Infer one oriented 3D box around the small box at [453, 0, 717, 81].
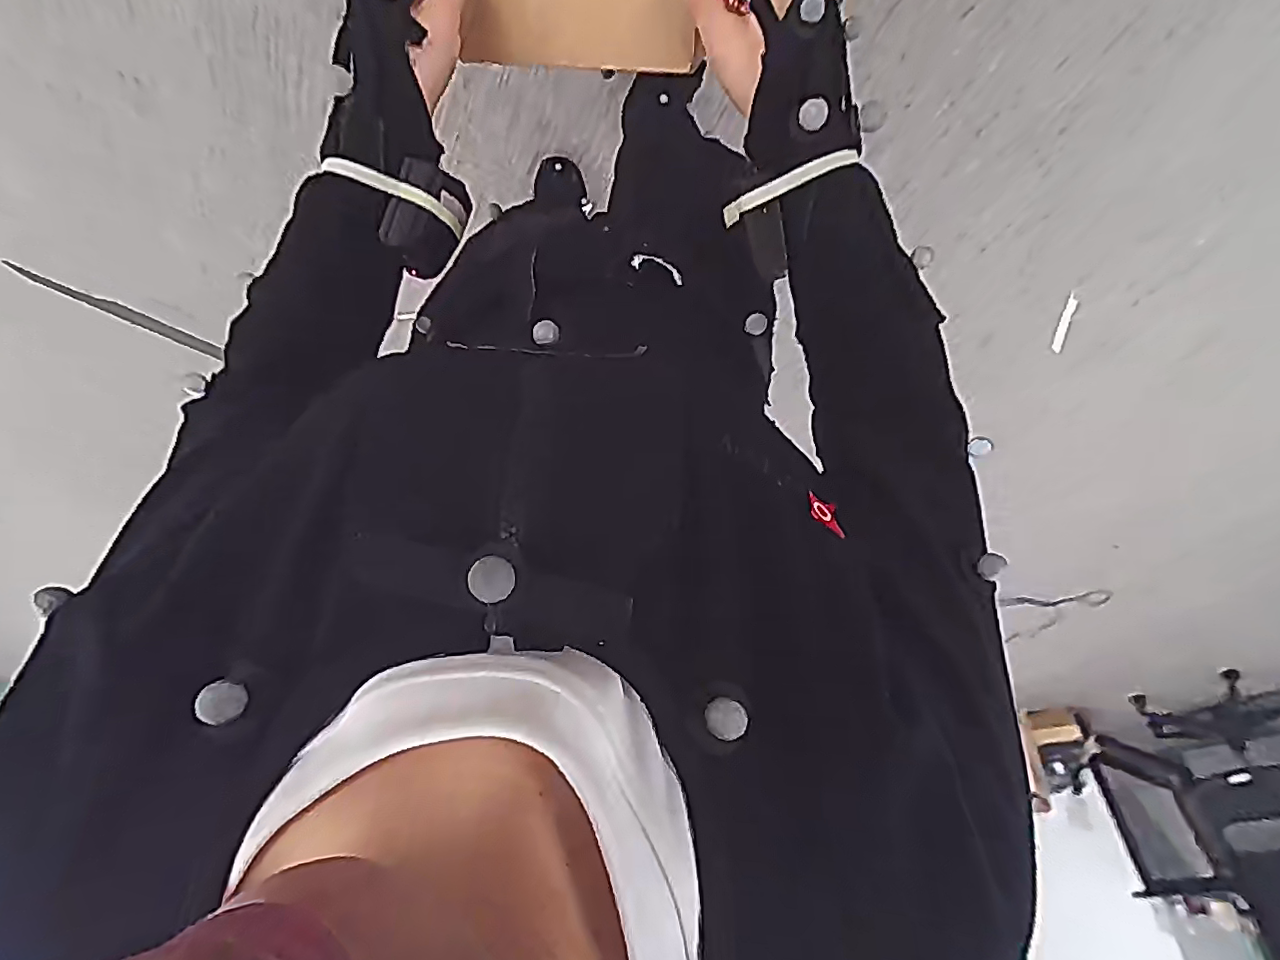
[{"bbox_3d":[-0.031,-0.390,0.371,0.168,0.176,0.179,7,135,7],"label":"small box"}]
